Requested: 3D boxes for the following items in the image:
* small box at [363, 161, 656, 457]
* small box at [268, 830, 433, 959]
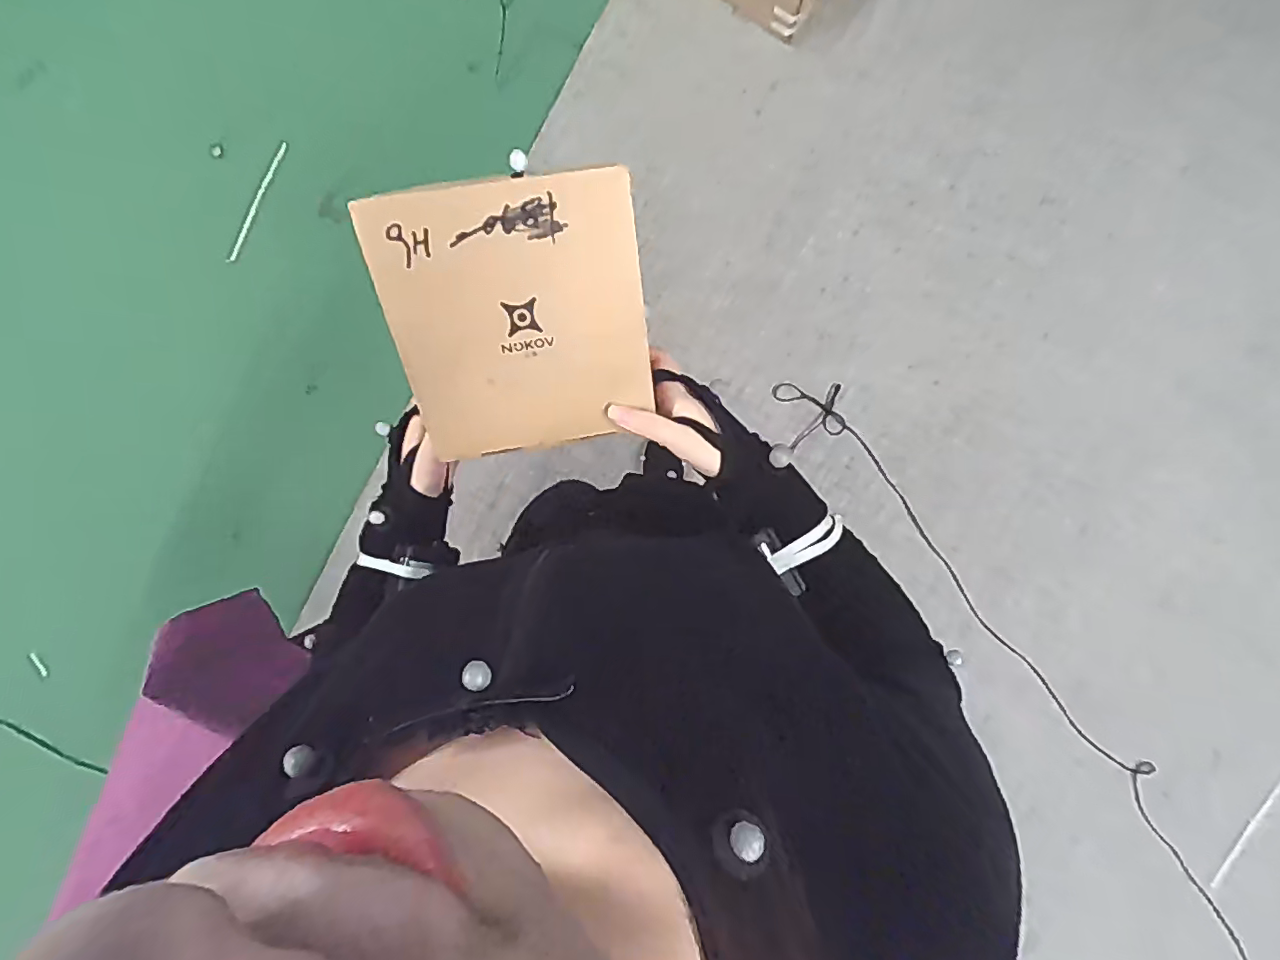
[{"bbox_3d":[-0.085,-0.143,0.430,0.168,0.176,0.179,-10,122,-5],"label":"small box"},{"bbox_3d":[-0.419,0.645,0.755,0.168,0.176,0.179,29,96,2],"label":"small box"}]
